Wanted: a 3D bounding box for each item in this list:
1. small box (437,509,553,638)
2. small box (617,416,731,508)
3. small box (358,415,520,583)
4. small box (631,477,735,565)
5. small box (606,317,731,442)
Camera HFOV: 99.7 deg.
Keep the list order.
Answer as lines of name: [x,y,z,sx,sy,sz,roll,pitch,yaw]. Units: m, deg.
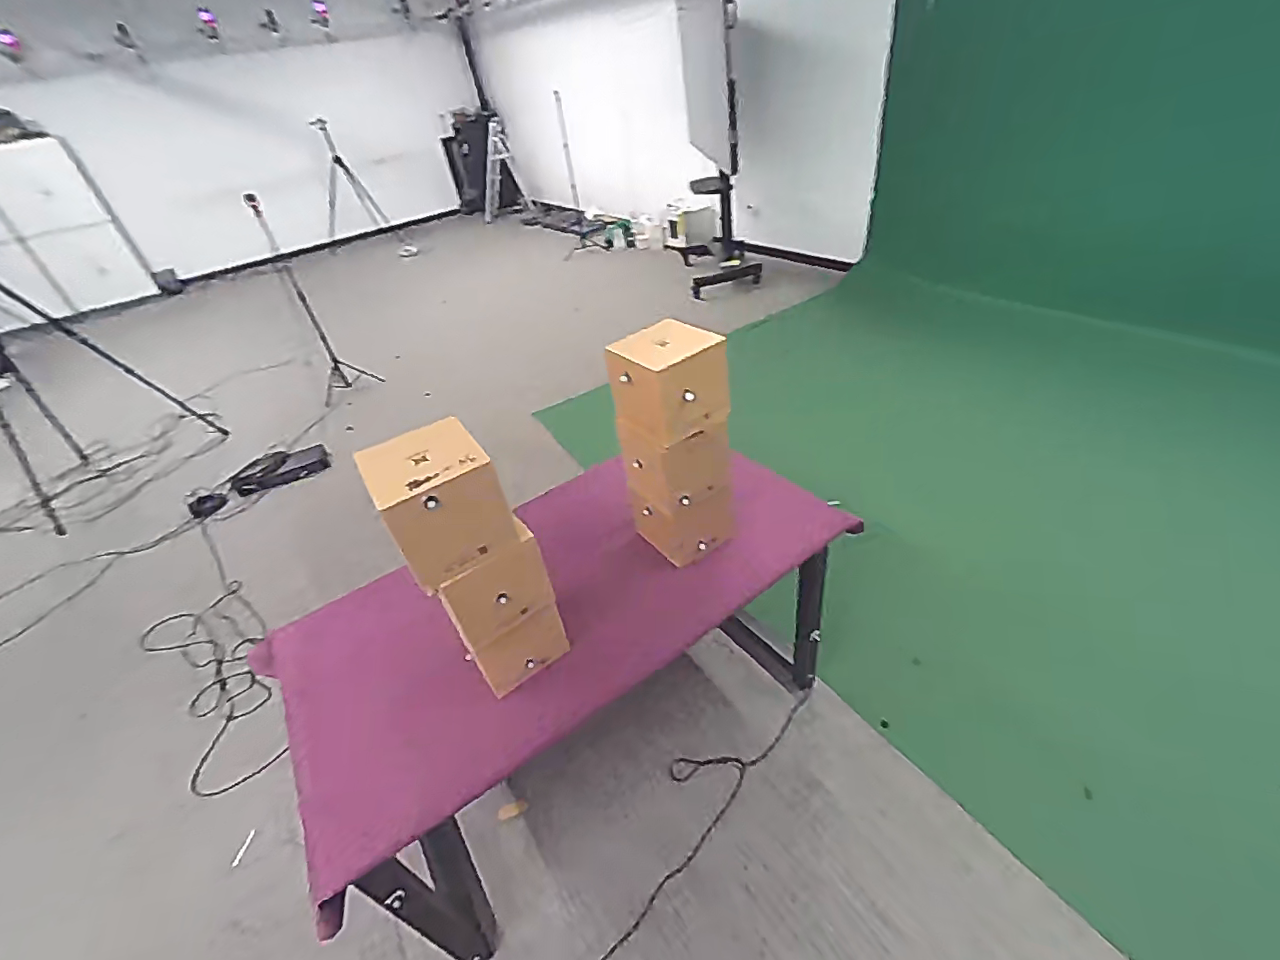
small box: [-0.274,0.150,0.954,0.168,0.176,0.179,-29,42,-24]
small box: [0.078,-0.062,1.151,0.168,0.176,0.179,-29,39,-21]
small box: [-0.312,0.028,0.850,0.168,0.176,0.179,-28,41,-22]
small box: [0.101,0.064,1.253,0.168,0.176,0.179,-28,41,-20]
small box: [0.061,-0.195,1.059,0.168,0.176,0.179,-30,40,-22]
